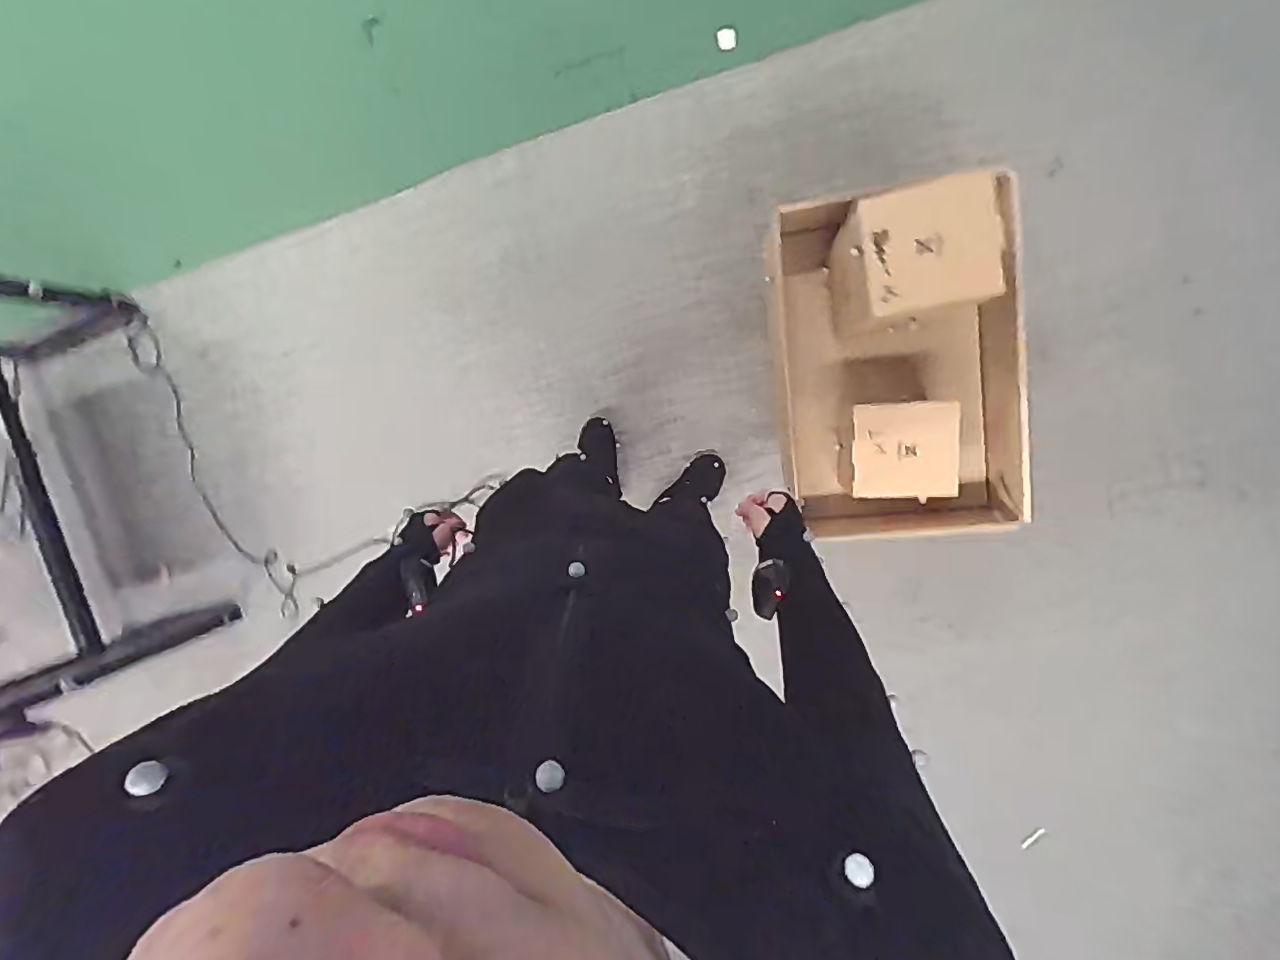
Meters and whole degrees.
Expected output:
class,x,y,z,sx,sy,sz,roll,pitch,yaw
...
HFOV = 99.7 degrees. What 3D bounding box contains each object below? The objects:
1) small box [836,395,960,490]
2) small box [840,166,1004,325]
class,x,y,z,sx,sy,sz,roll,pitch,yaw
small box,0.478,-0.076,1.026,0.179,0.176,0.168,0,98,12
small box,0.419,-0.343,0.826,0.179,0.176,0.168,-8,96,12
